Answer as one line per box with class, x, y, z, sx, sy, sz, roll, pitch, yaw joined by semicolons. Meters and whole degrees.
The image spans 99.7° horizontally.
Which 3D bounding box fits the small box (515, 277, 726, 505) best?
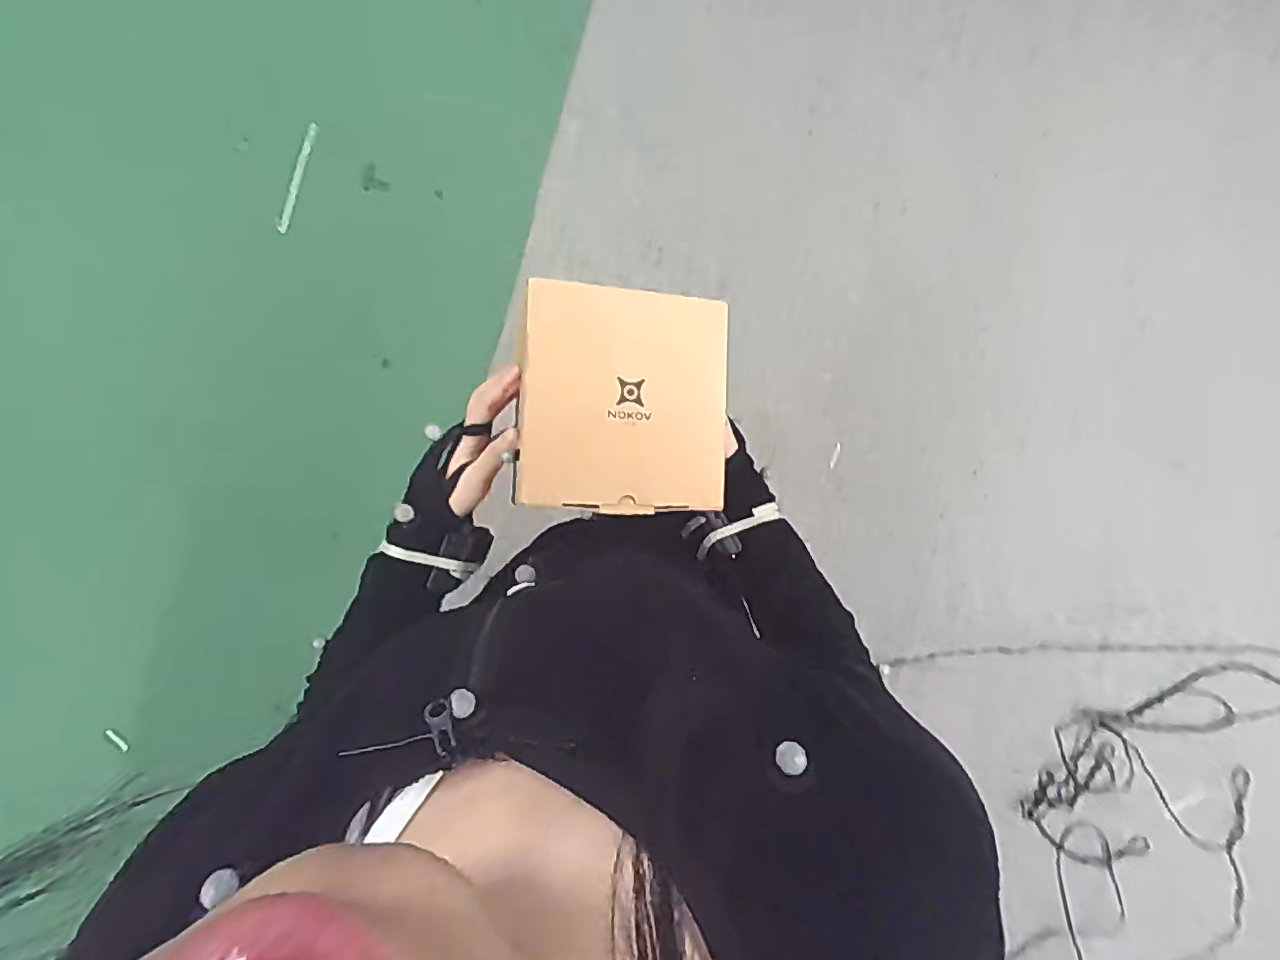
small box;-0.029;-0.066;0.510;0.168;0.176;0.179;1;89;-15
